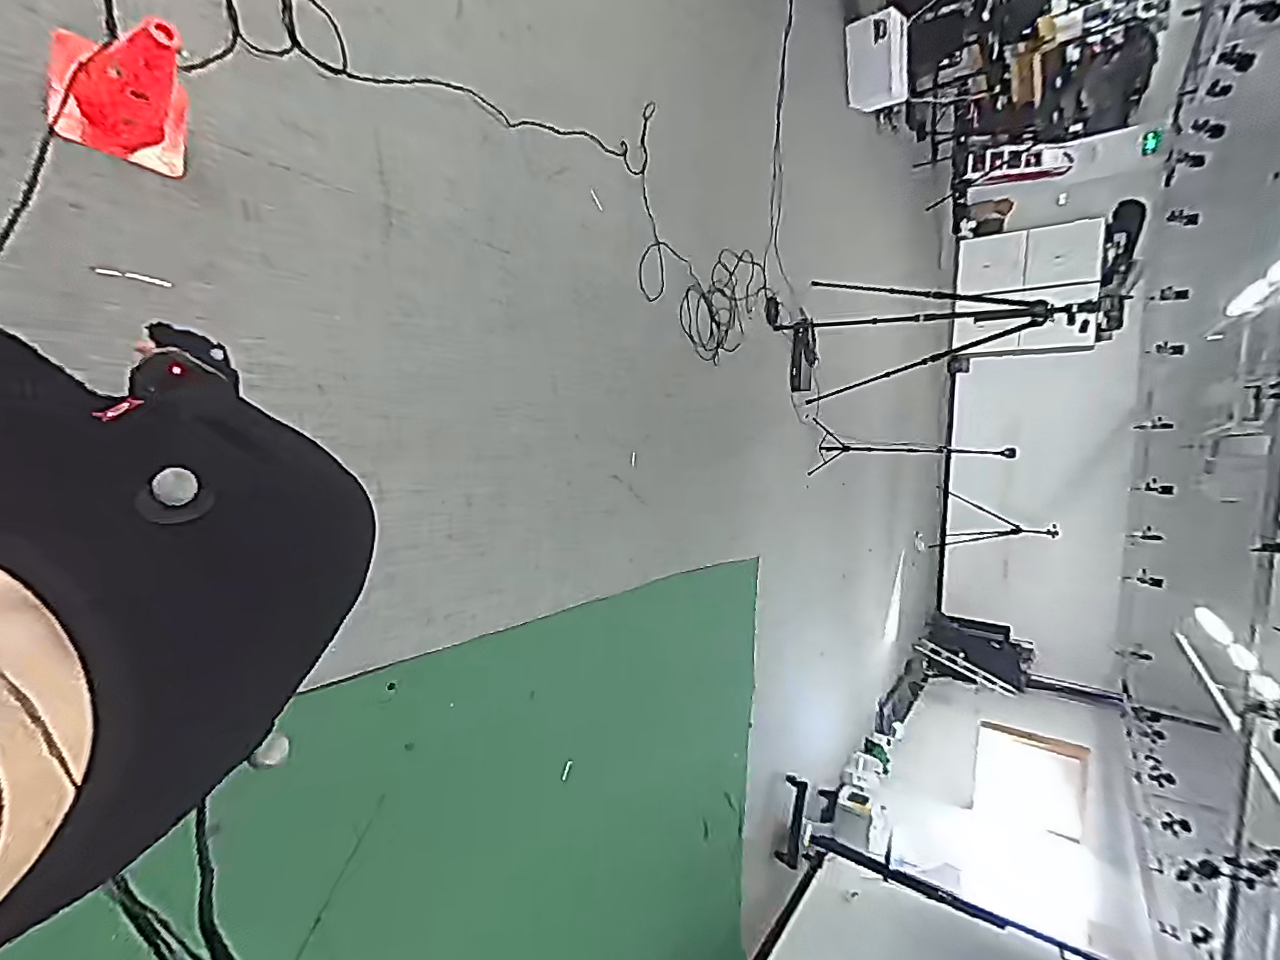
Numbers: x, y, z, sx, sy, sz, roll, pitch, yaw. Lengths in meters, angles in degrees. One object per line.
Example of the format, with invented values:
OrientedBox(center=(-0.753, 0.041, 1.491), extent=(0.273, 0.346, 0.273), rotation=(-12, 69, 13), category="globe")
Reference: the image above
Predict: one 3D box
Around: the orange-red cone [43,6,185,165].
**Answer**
OrientedBox(center=(-0.911, -0.752, 0.975), extent=(0.198, 0.360, 0.199), rotation=(5, 91, -52), category="orange-red cone")
